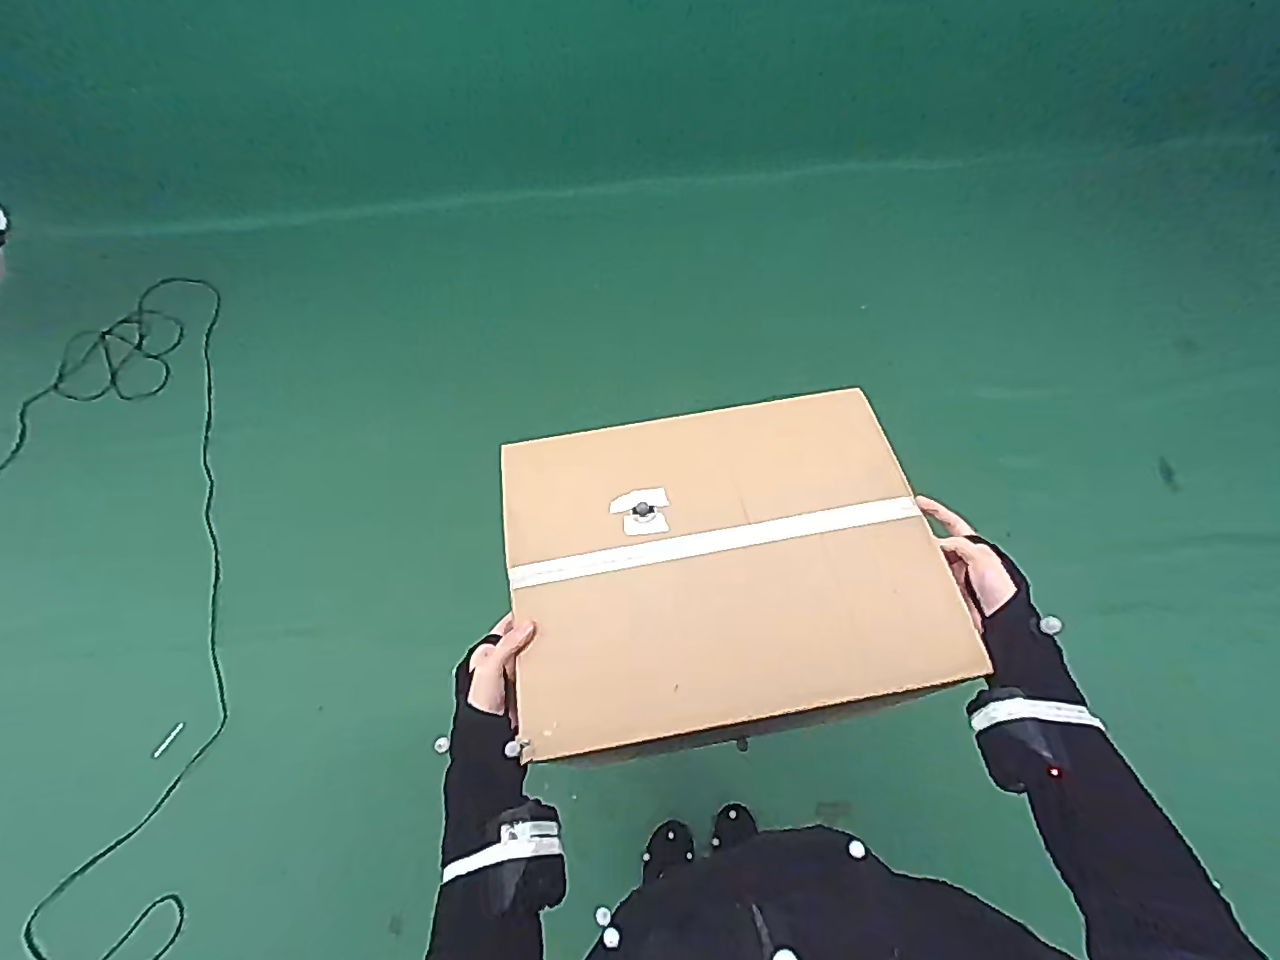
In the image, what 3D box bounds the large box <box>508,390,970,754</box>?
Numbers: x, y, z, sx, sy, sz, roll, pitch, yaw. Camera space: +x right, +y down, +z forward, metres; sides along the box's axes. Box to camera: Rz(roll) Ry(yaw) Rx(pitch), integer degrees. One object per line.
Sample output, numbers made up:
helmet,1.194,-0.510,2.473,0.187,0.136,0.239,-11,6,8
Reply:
large box,0.083,0.133,0.669,0.408,0.320,0.320,-10,61,-2
